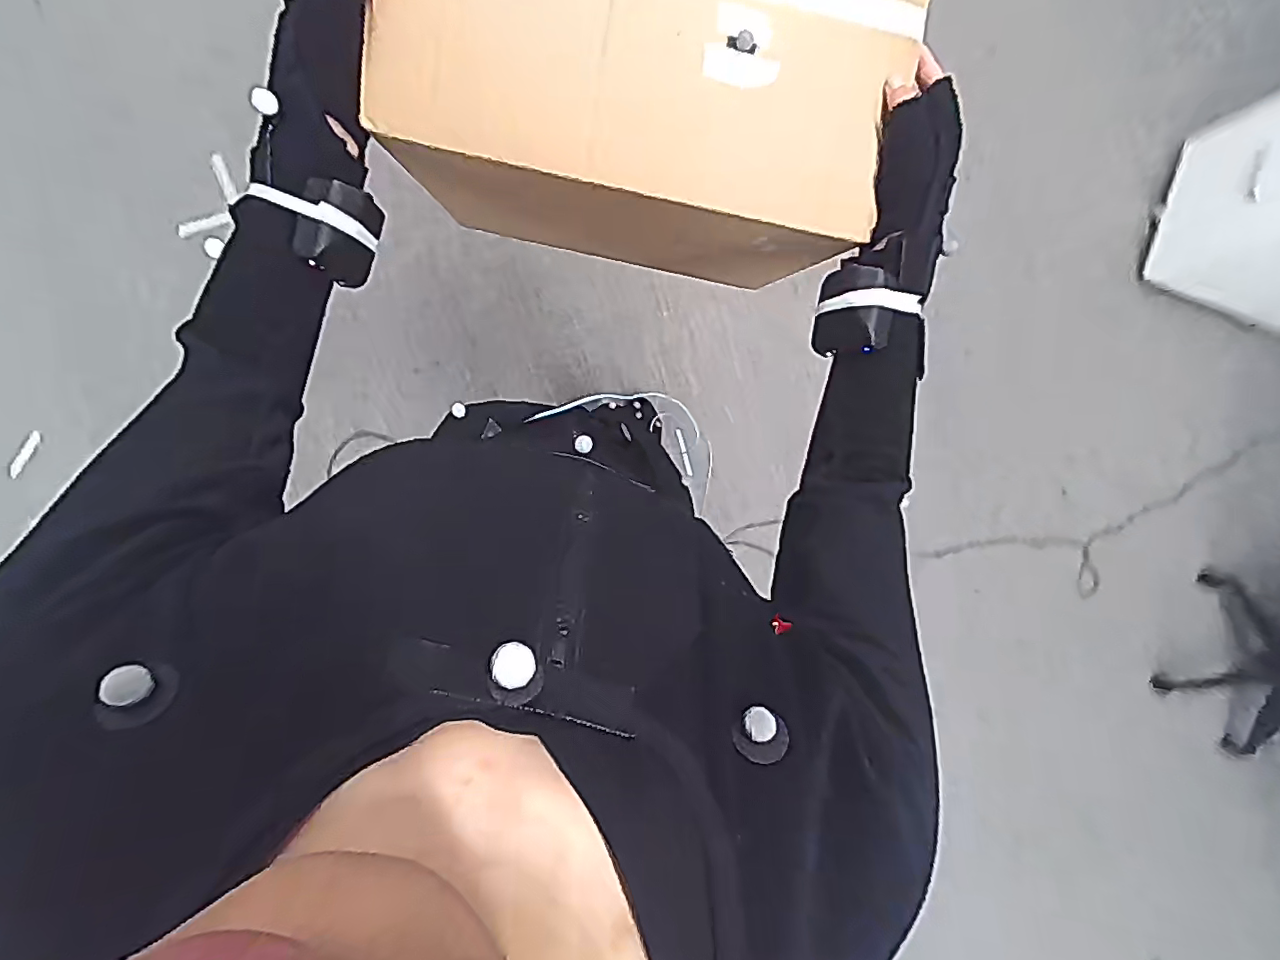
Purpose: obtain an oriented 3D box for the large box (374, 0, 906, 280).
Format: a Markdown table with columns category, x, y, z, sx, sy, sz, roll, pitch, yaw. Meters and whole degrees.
| category | x | y | z | sx | sy | sz | roll | pitch | yaw |
| --- | --- | --- | --- | --- | --- | --- | --- | --- | --- |
| large box | -0.004 | -0.415 | 0.551 | 0.408 | 0.320 | 0.320 | 8 | 102 | -8 |
